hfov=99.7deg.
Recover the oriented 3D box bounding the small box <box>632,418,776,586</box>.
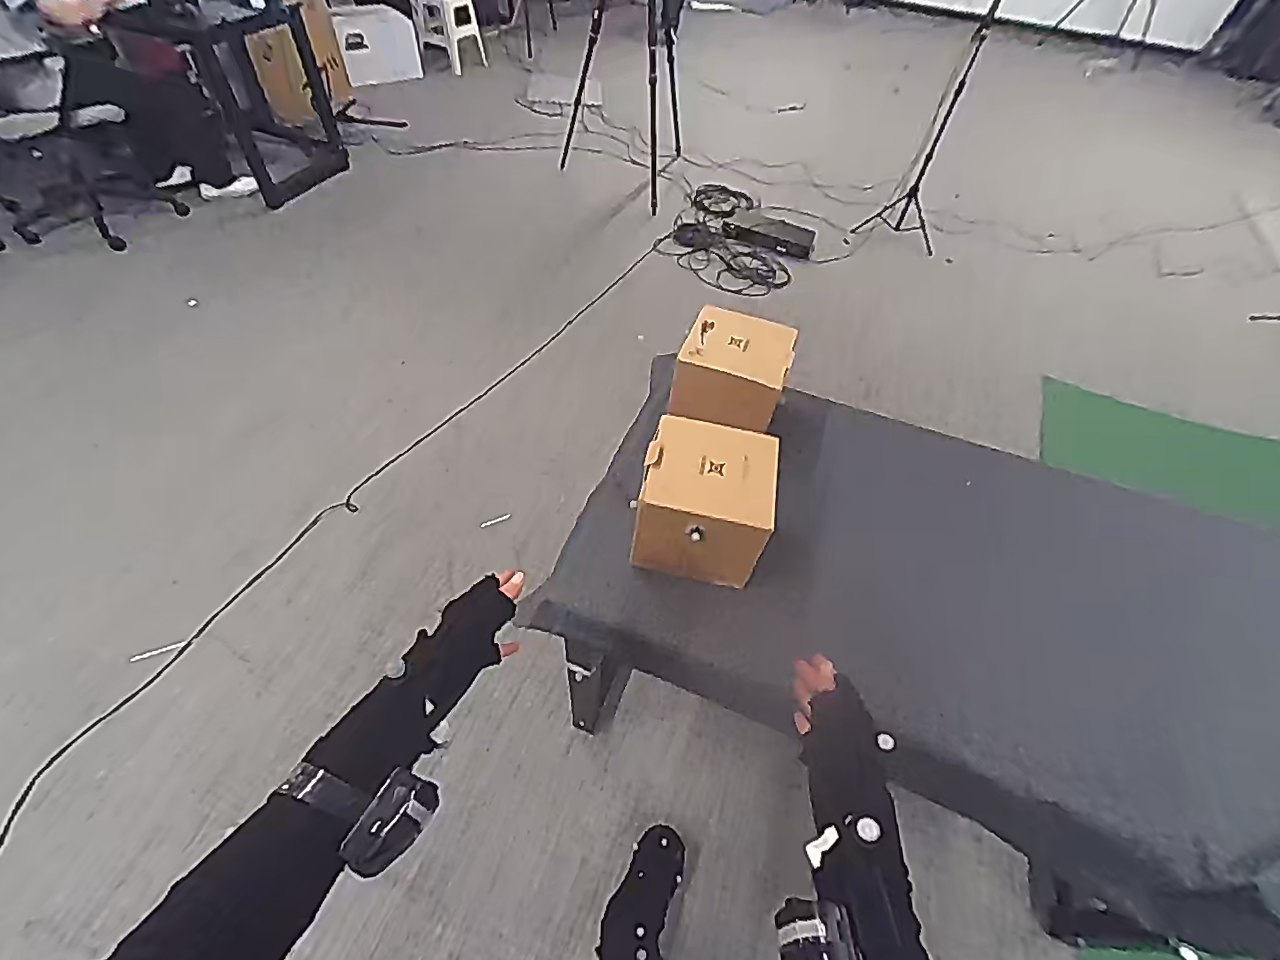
[{"bbox_3d":[0.090,0.037,0.802,0.179,0.176,0.168,13,52,2],"label":"small box"}]

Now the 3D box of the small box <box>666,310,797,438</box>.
[{"bbox_3d":[0.158,-0.170,0.973,0.179,0.176,0.168,20,53,9],"label":"small box"}]
